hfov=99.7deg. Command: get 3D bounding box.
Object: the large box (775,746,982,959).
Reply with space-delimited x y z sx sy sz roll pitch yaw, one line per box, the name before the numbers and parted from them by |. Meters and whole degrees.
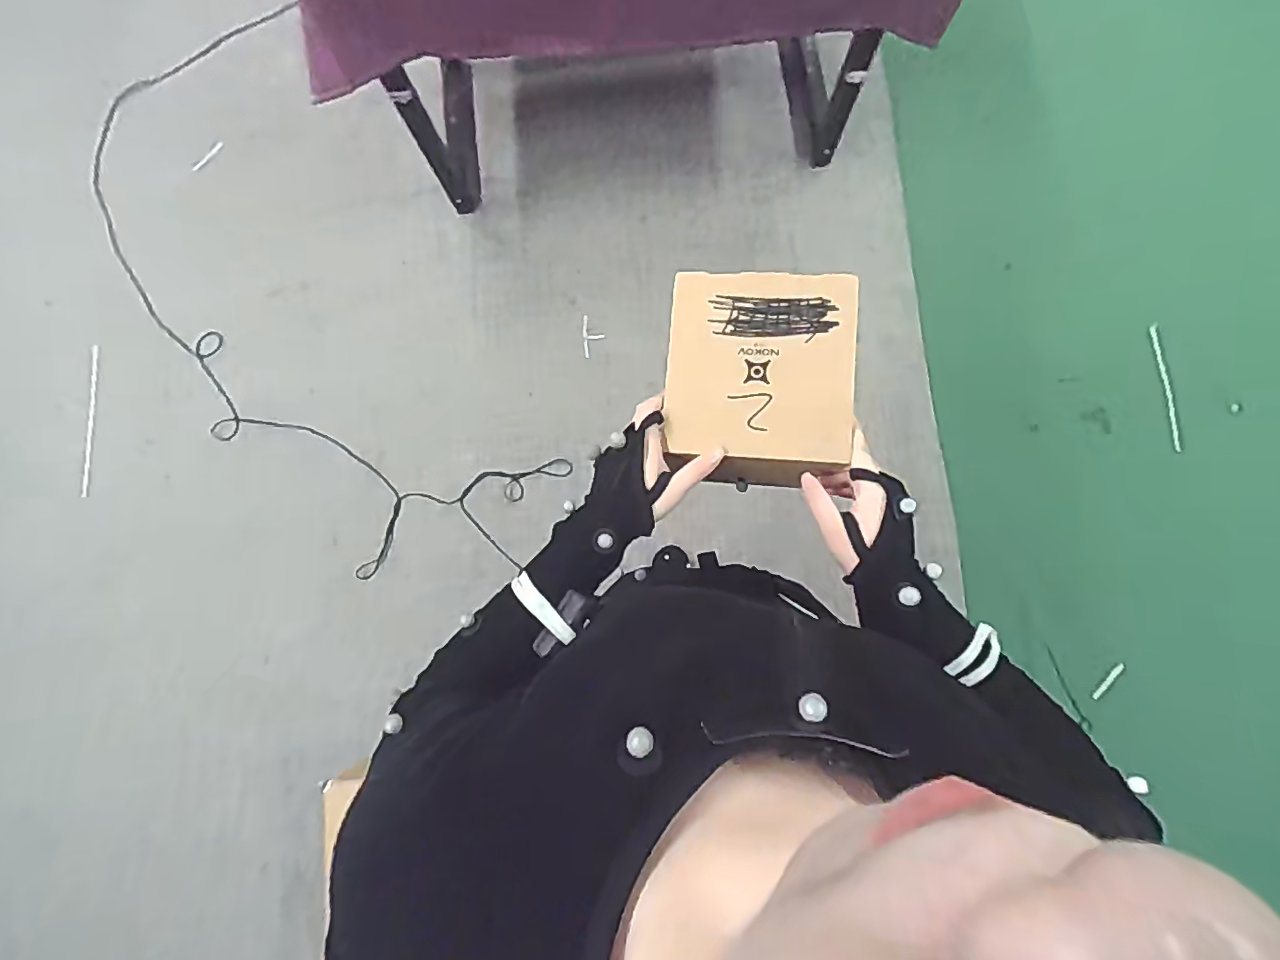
large box | 0.527 0.894 1.251 0.320 0.320 0.408 -7 83 1
